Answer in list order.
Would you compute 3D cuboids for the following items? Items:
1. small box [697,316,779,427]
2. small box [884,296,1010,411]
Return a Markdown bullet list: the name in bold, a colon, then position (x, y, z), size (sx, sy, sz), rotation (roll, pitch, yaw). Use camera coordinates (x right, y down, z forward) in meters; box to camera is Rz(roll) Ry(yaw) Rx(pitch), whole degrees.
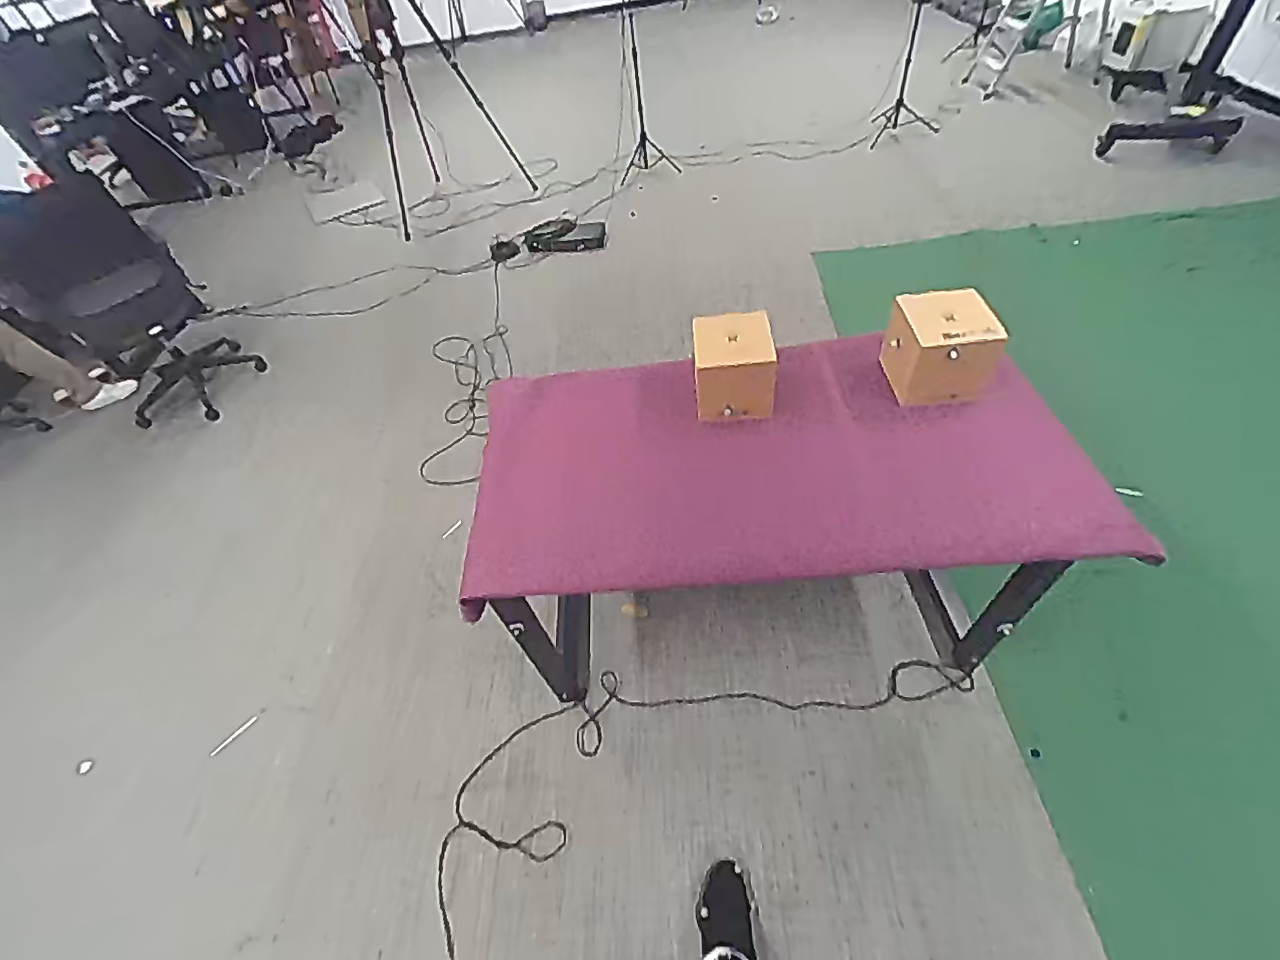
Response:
- **small box**: position (0.213, -0.241, 1.212), size (0.168, 0.176, 0.179), rotation (-4, 51, 7)
- **small box**: position (0.646, -0.270, 1.165), size (0.168, 0.176, 0.179), rotation (-5, 49, 6)
